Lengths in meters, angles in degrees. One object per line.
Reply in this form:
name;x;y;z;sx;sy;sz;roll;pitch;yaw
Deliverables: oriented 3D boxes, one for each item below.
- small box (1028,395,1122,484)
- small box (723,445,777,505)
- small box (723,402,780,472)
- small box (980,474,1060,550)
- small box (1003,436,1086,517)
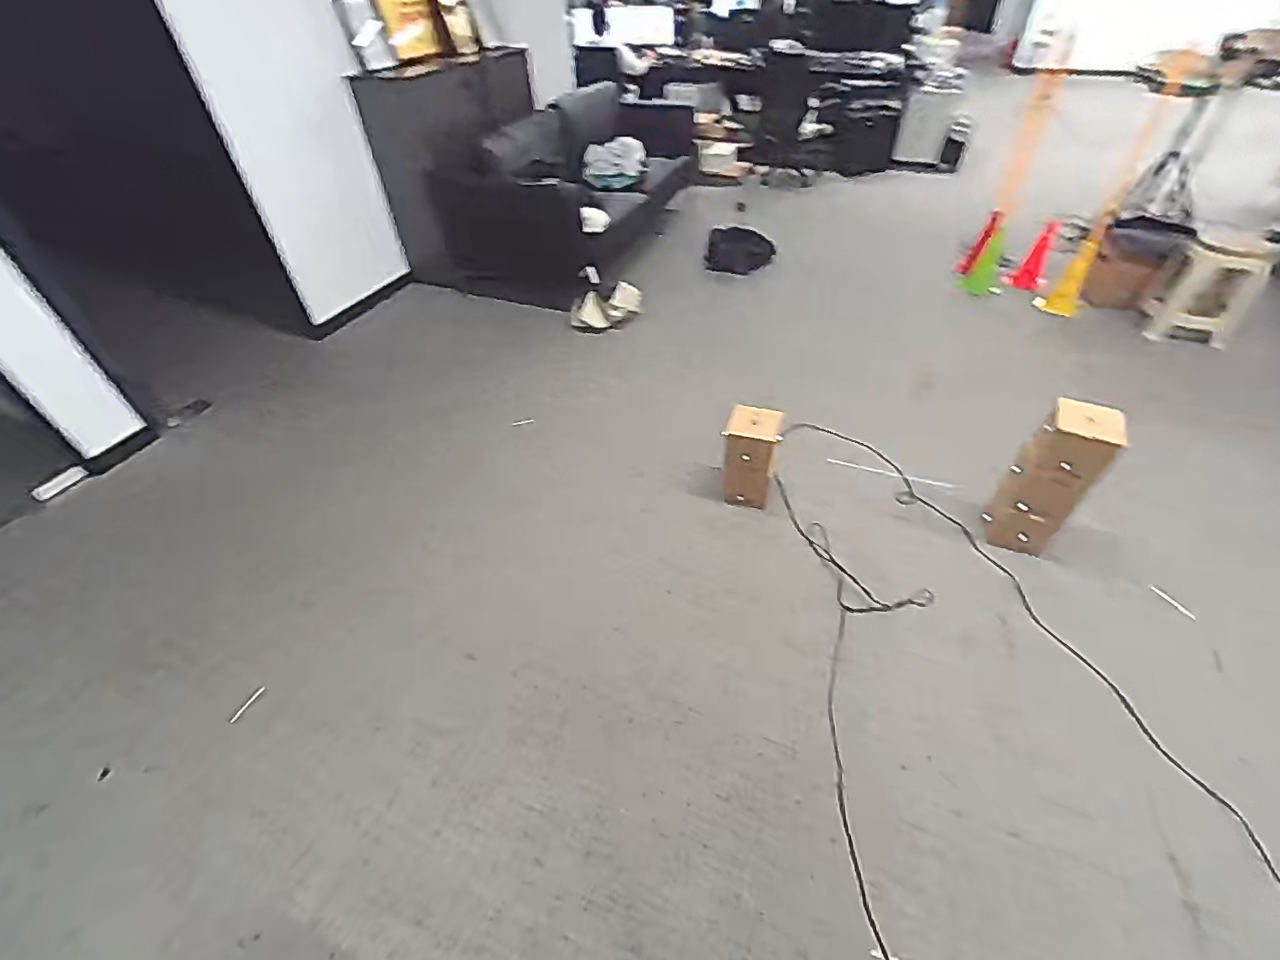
small box;1.298;-0.121;1.623;0.168;0.176;0.179;20;49;22
small box;0.412;-0.033;2.047;0.168;0.176;0.179;12;47;16
small box;0.395;-0.151;1.933;0.168;0.176;0.179;12;46;15
small box;1.295;0.112;1.855;0.168;0.176;0.179;16;49;14
small box;1.296;-0.009;1.740;0.168;0.176;0.179;16;46;18
